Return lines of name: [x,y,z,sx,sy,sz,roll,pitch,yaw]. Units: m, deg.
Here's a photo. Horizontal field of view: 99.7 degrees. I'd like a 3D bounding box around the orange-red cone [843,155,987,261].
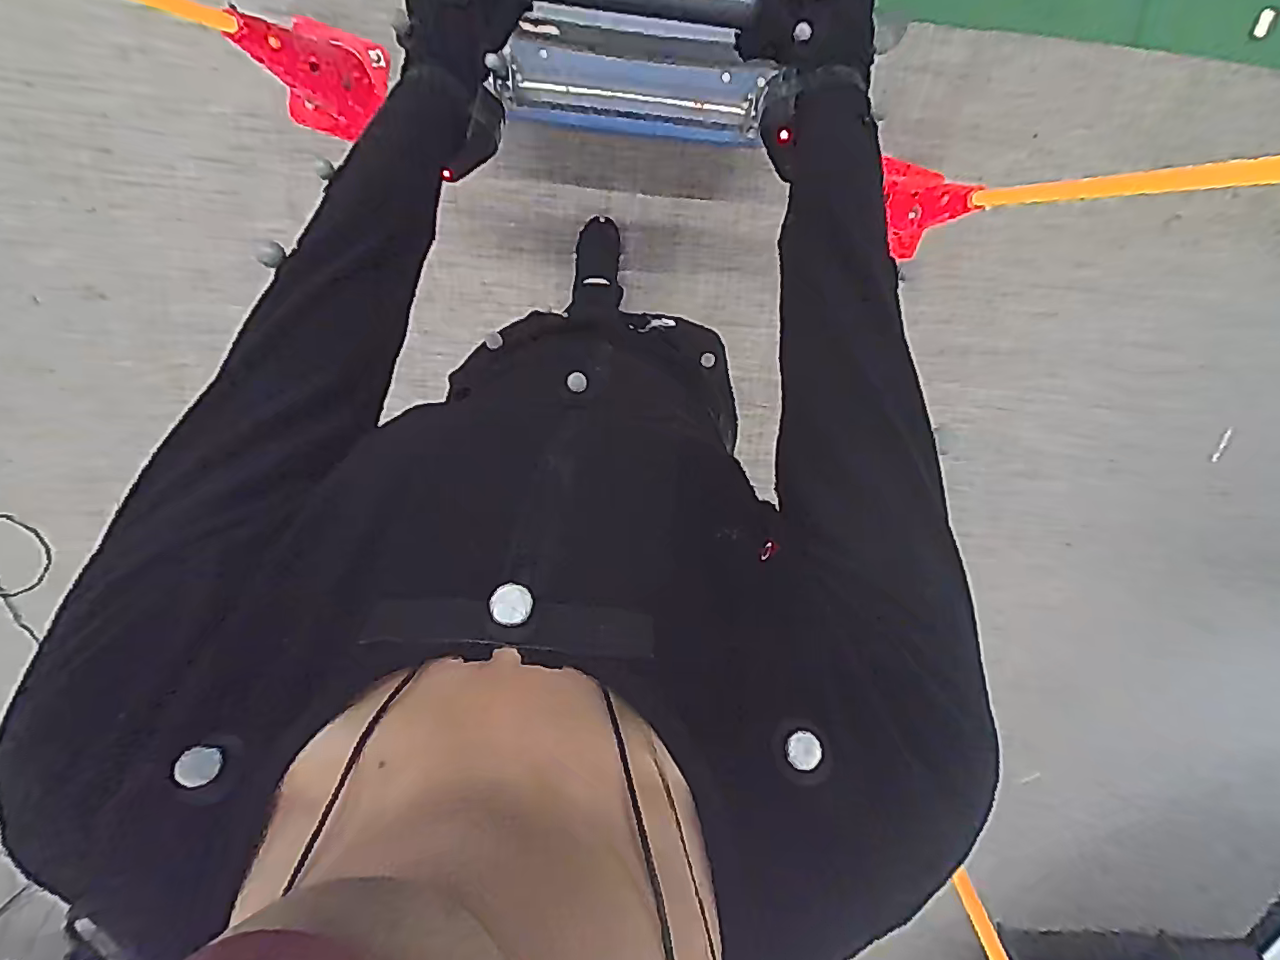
orange-red cone: [0.614,-0.584,1.147,0.198,0.360,0.199,14,113,-7]
